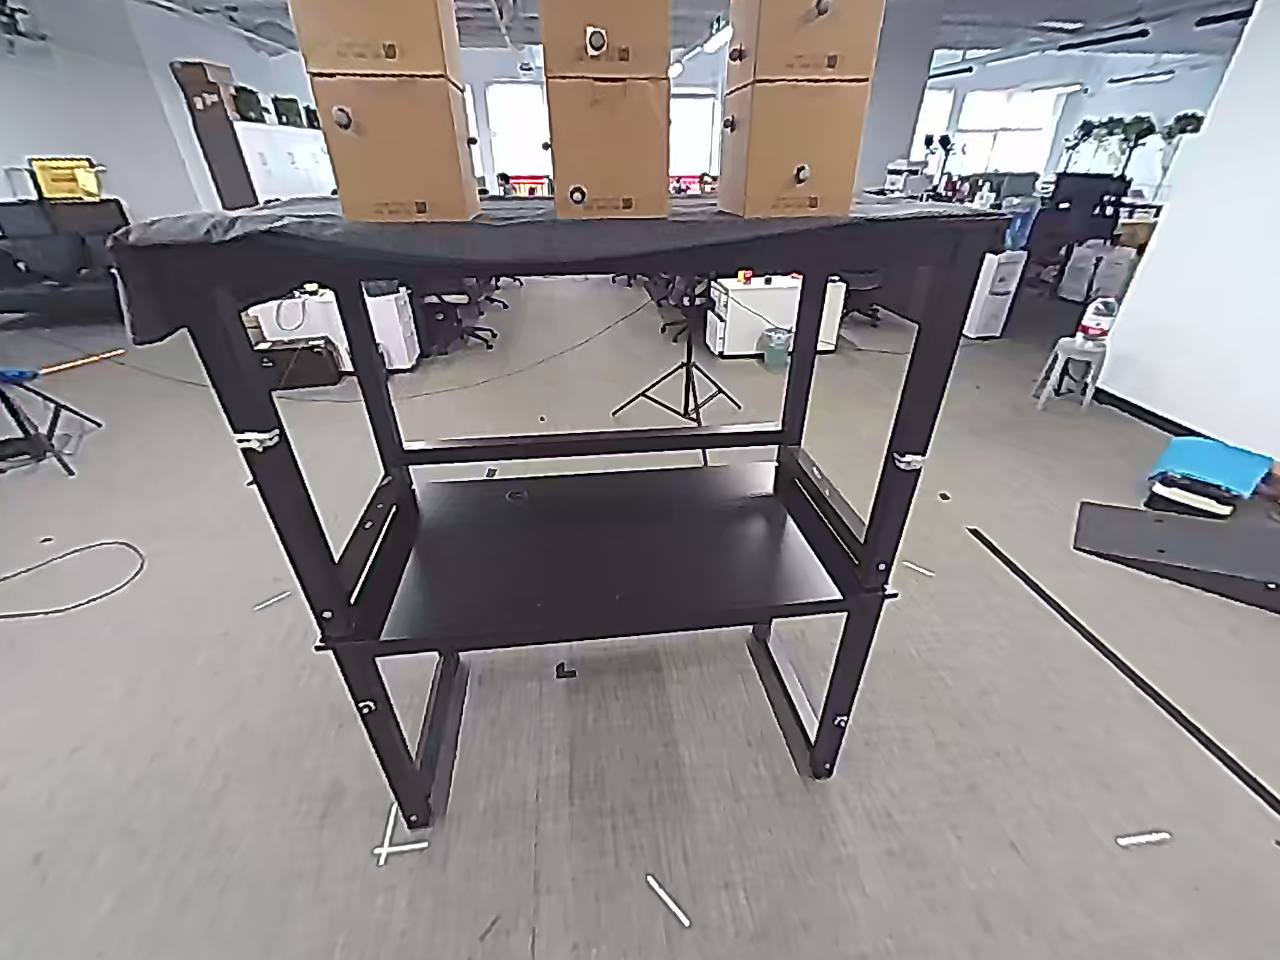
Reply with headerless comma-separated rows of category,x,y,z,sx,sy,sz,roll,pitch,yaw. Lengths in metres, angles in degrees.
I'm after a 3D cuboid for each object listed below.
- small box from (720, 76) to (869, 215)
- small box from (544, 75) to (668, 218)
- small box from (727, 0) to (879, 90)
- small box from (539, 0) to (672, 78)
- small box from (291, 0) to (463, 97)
small box,0.224,-0.509,0.837,0.168,0.176,0.179,-4,30,-4
small box,-0.049,-0.490,0.810,0.168,0.176,0.179,-4,29,-6
small box,0.223,-0.652,0.756,0.168,0.176,0.179,-3,31,-4
small box,-0.049,-0.632,0.731,0.168,0.176,0.179,-4,30,-5
small box,-0.334,-0.608,0.695,0.168,0.176,0.179,-4,29,-6
